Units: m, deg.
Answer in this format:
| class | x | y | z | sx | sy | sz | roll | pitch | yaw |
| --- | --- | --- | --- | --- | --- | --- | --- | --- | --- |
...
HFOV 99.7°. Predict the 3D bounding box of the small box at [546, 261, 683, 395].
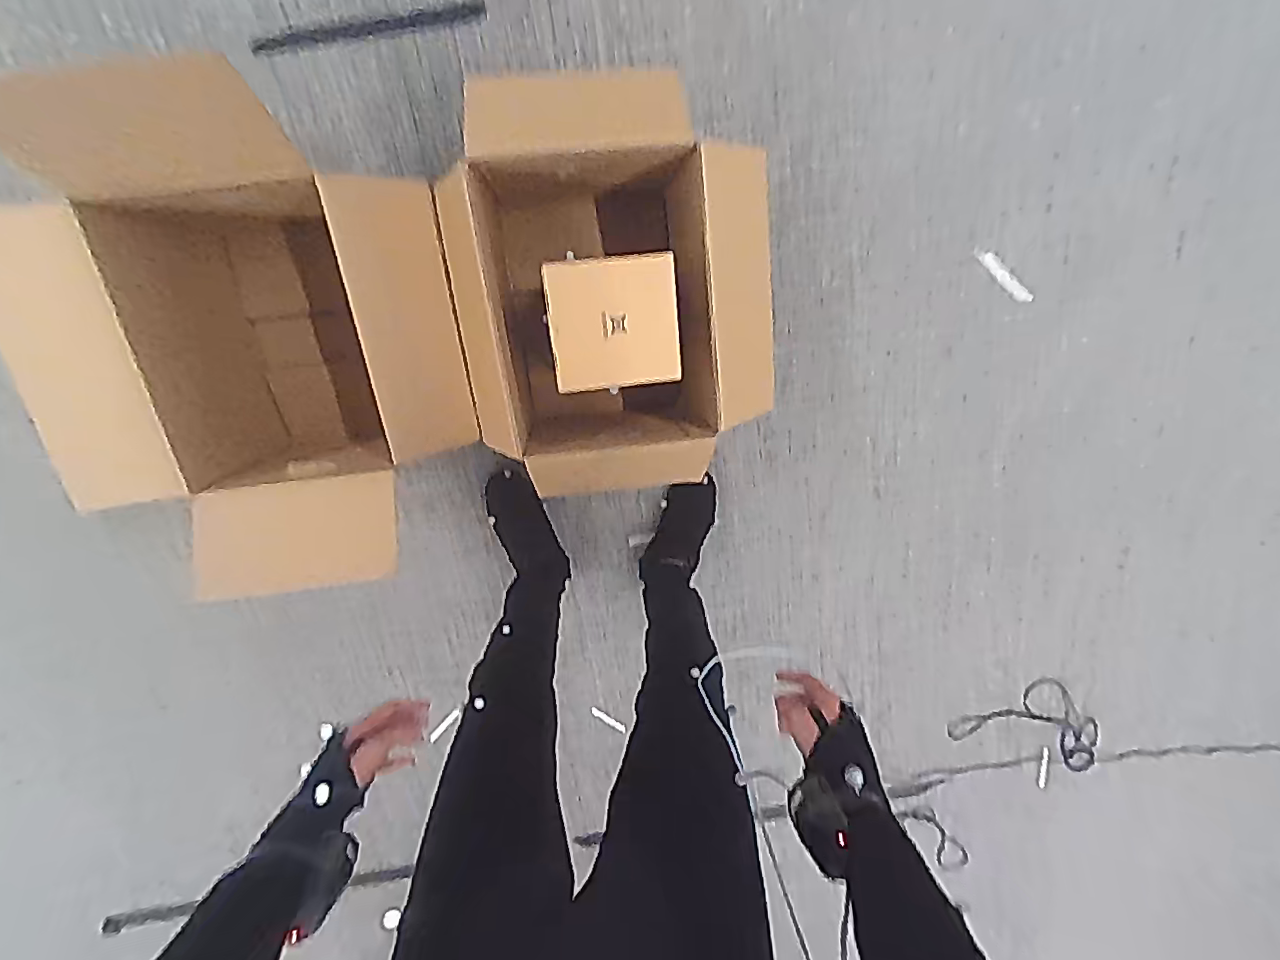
| class | x | y | z | sx | sy | sz | roll | pitch | yaw |
| --- | --- | --- | --- | --- | --- | --- | --- | --- | --- |
| small box | -0.041 | -0.229 | 0.800 | 0.179 | 0.176 | 0.168 | -7 | 110 | -5 |
